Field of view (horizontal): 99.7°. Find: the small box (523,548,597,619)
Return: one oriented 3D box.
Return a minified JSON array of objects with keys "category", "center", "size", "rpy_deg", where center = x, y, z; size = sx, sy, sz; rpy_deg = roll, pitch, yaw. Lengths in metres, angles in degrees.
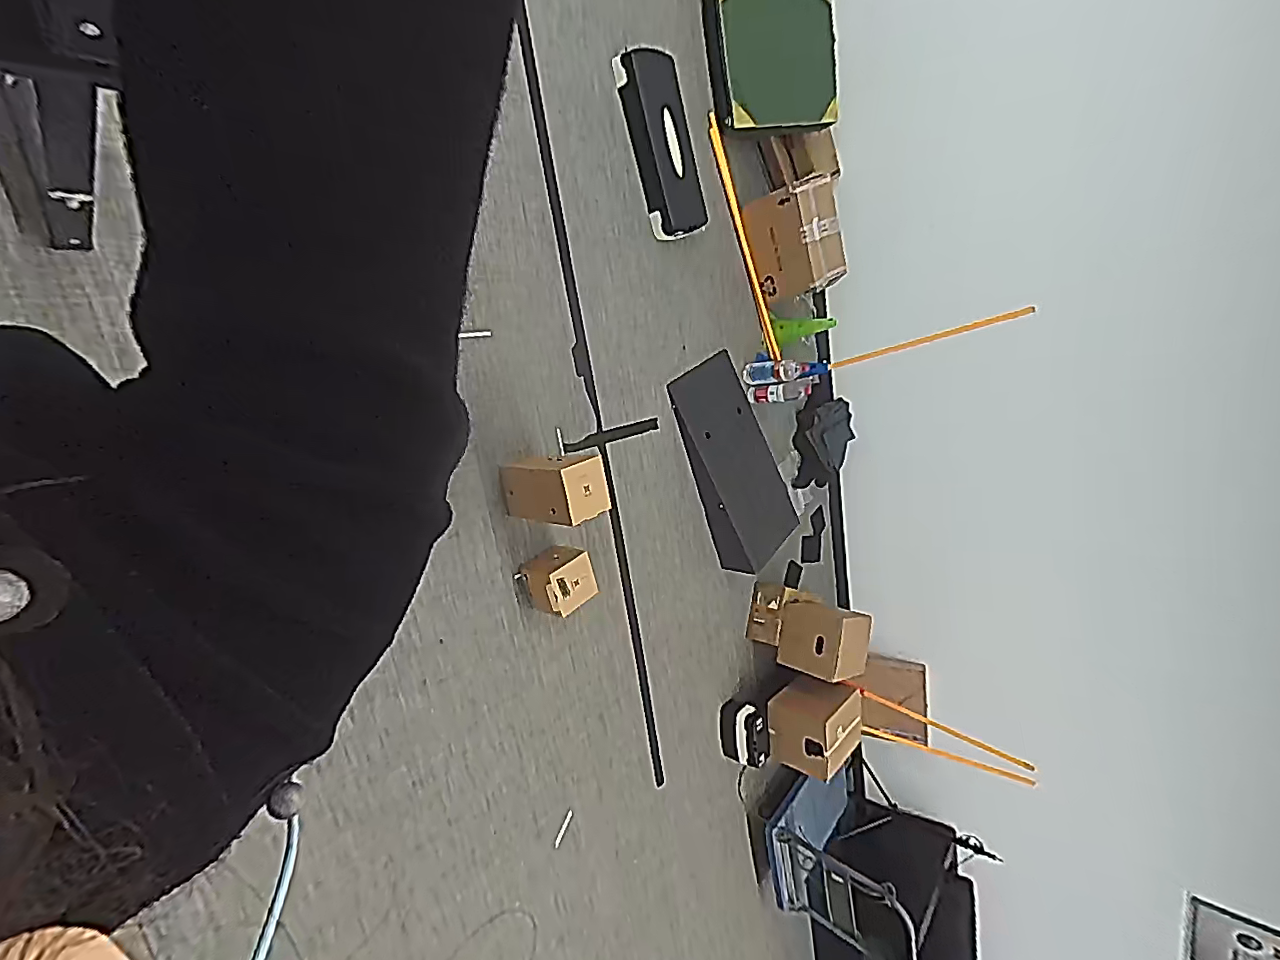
[{"category":"small box","center":[-0.280,0.347,1.848],"size":[0.179,0.176,0.168],"rpy_deg":[-30,114,-42]}]

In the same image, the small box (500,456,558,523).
[{"category":"small box","center":[-0.334,0.026,1.767],"size":[0.168,0.176,0.179],"rpy_deg":[-21,109,-44]}]

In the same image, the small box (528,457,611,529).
[{"category":"small box","center":[-0.217,0.033,1.653],"size":[0.168,0.176,0.179],"rpy_deg":[-24,109,-44]}]
